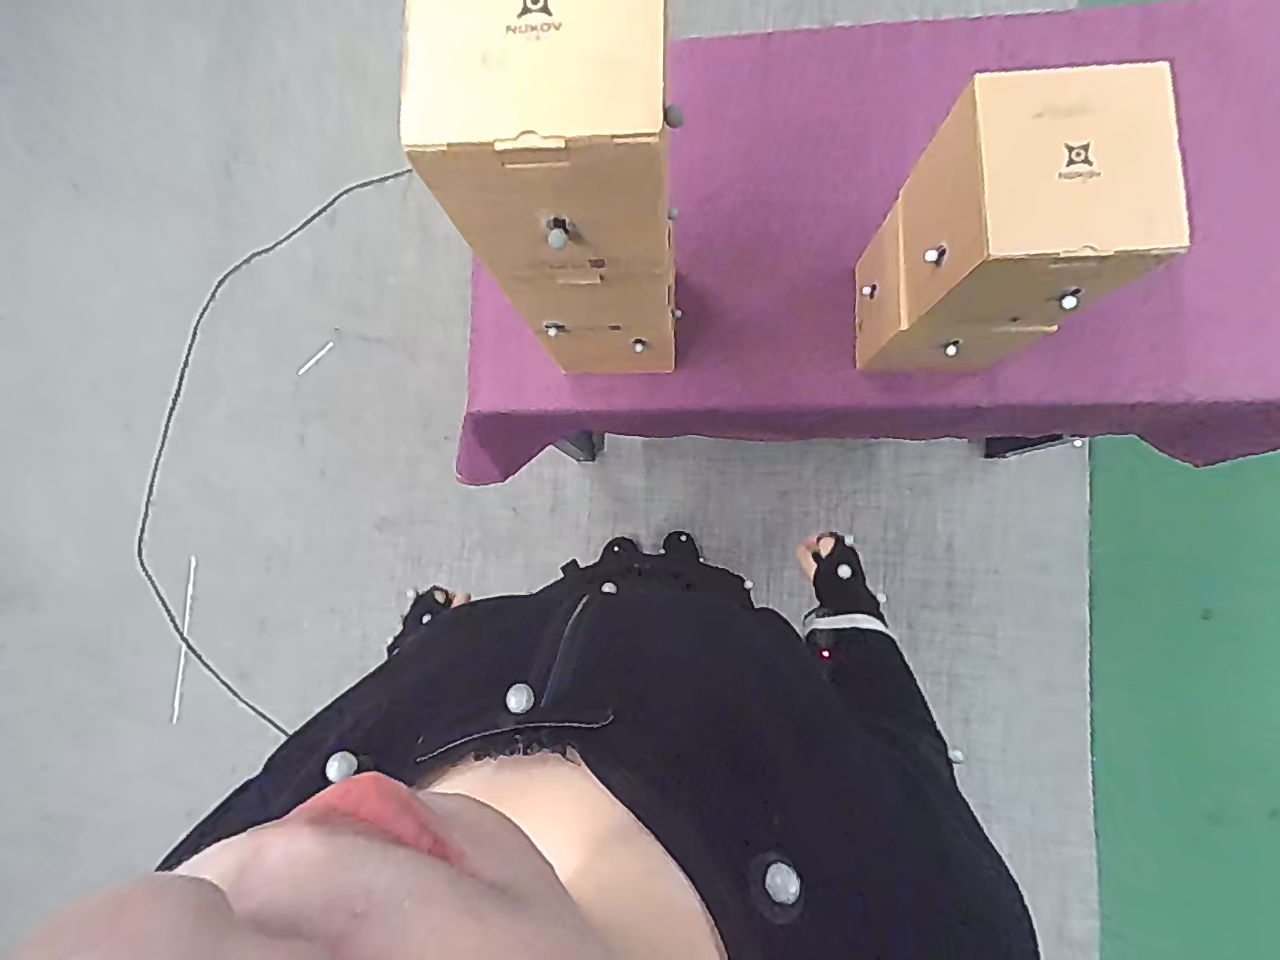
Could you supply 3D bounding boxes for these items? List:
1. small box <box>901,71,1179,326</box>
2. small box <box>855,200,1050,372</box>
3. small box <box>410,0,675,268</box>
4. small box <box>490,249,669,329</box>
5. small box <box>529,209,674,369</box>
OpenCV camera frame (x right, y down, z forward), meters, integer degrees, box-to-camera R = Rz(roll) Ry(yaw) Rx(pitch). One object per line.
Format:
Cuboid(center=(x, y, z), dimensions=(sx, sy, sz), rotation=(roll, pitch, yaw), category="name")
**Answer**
Cuboid(center=(0.385, -0.267, 0.553), dimensions=(0.168, 0.176, 0.179), rotation=(0, 84, 4), category="small box")
Cuboid(center=(0.396, -0.246, 0.715), dimensions=(0.179, 0.176, 0.168), rotation=(2, 85, 4), category="small box")
Cuboid(center=(-0.058, -0.282, 0.421), dimensions=(0.168, 0.176, 0.179), rotation=(1, 85, 3), category="small box")
Cuboid(center=(-0.053, -0.274, 0.586), dimensions=(0.168, 0.176, 0.179), rotation=(0, 83, 3), category="small box")
Cuboid(center=(-0.043, -0.257, 0.749), dimensions=(0.179, 0.176, 0.168), rotation=(1, 85, 3), category="small box")
